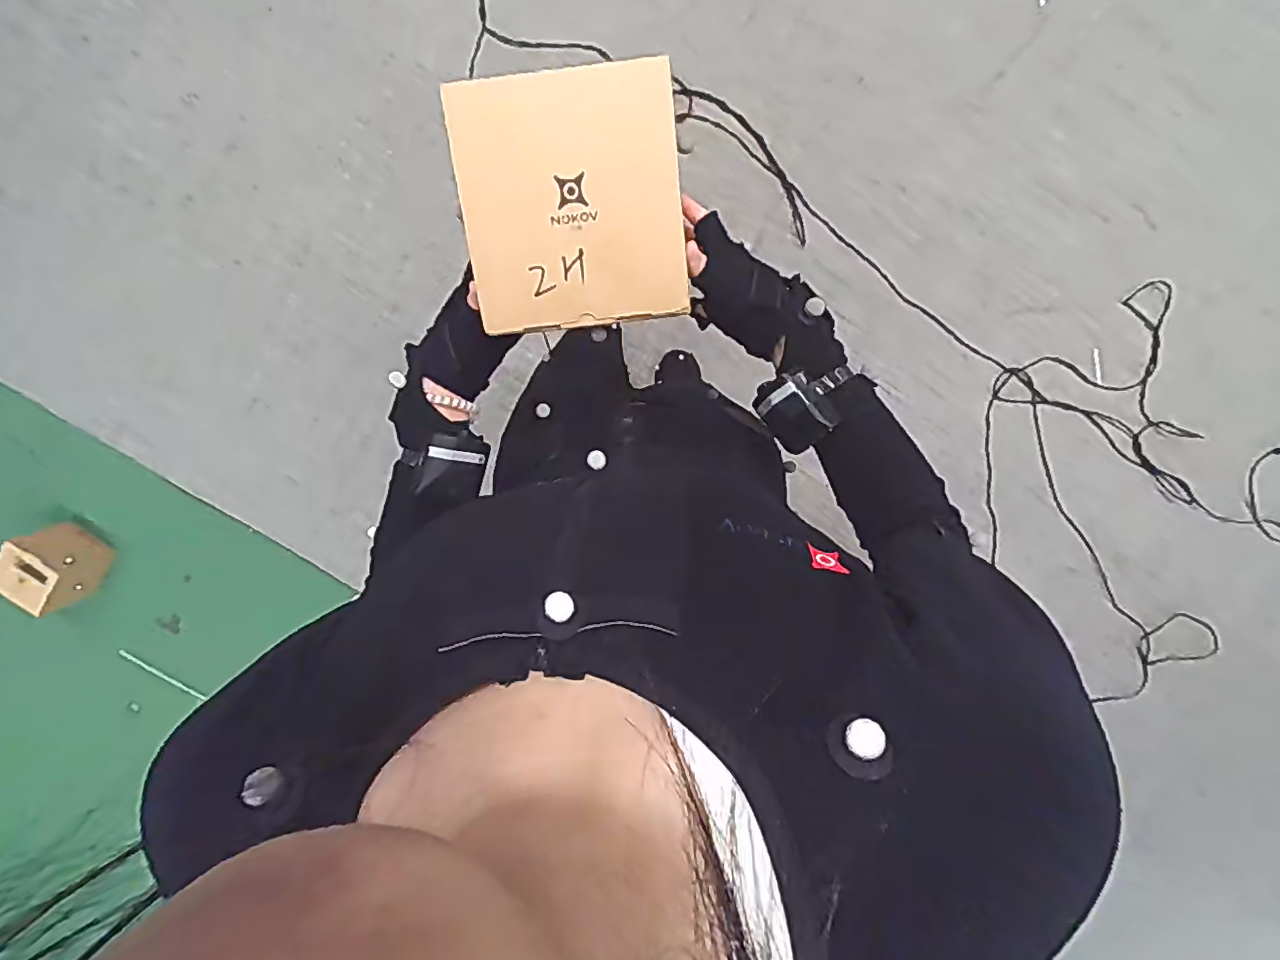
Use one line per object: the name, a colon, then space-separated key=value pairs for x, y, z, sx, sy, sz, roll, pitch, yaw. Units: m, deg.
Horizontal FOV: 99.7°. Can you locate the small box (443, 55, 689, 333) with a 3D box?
small box: x=-0.051 y=-0.226 z=0.475 sx=0.168 sy=0.176 sz=0.179 roll=-6 pitch=106 yaw=2
